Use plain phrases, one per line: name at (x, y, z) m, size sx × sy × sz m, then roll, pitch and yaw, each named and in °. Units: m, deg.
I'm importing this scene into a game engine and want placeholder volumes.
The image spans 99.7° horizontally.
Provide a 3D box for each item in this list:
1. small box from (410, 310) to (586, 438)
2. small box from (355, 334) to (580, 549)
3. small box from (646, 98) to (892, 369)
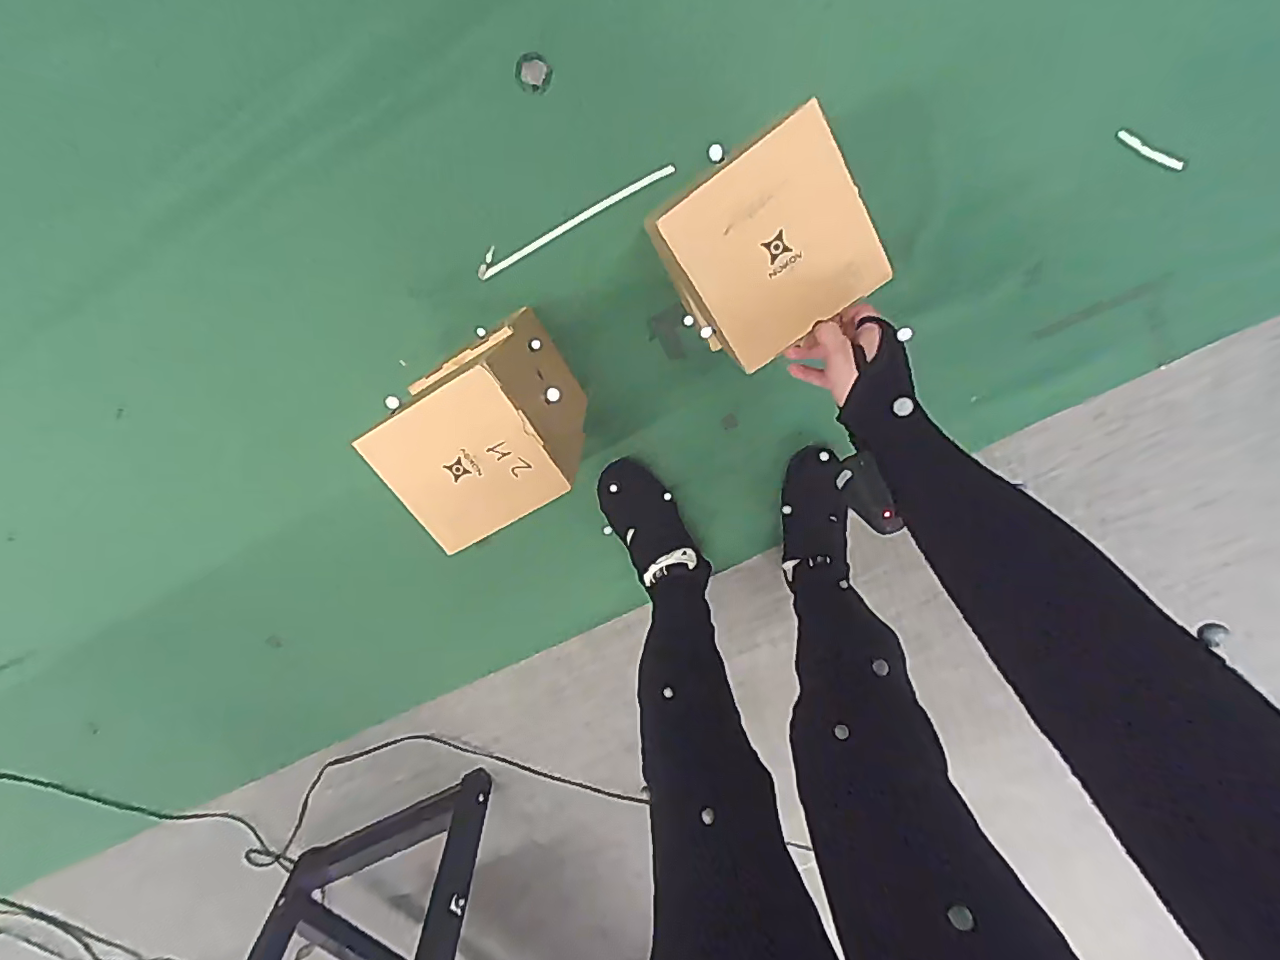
small box at (-0.193, -0.128, 0.799) m, size 0.168 × 0.176 × 0.179 m, roll -28°, pitch 112°, yaw 11°
small box at (-0.189, -0.054, 0.653) m, size 0.179 × 0.176 × 0.168 m, roll -28°, pitch 113°, yaw 11°
small box at (0.122, -0.251, 0.568) m, size 0.168 × 0.176 × 0.179 m, roll -34°, pitch 113°, yaw 12°
